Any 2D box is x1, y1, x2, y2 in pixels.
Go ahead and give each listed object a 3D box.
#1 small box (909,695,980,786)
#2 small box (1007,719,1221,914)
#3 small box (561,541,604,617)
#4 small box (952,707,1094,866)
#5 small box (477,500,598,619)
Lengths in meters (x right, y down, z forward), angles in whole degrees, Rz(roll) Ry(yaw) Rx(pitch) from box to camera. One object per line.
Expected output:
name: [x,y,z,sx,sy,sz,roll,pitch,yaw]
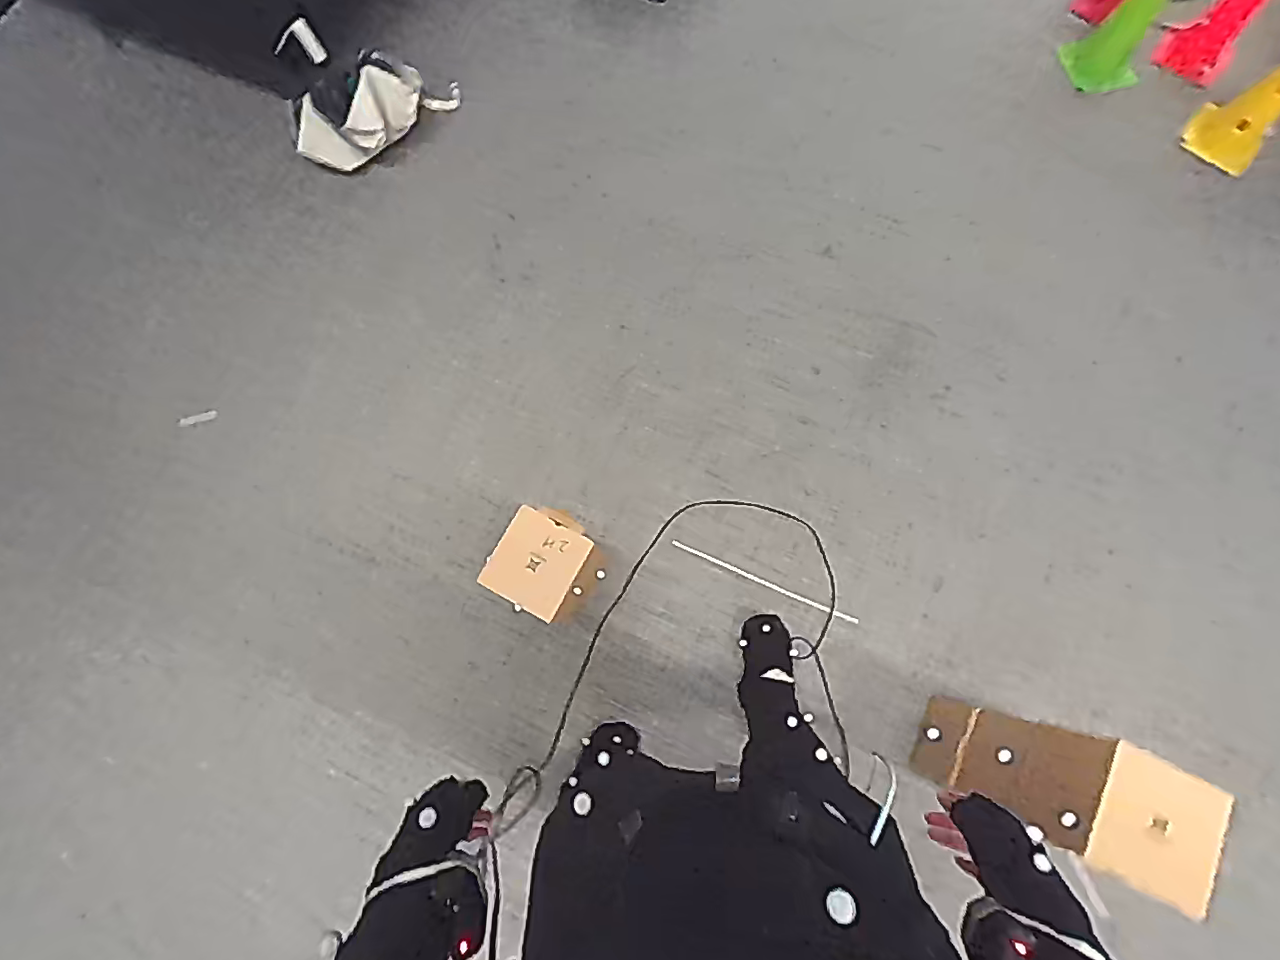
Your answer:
small box: [0.711,0.579,1.154,0.179,0.176,0.168,26,78,7]
small box: [0.717,0.498,0.837,0.168,0.176,0.179,26,79,7]
small box: [-0.194,0.199,1.254,0.168,0.176,0.179,30,79,8]
small box: [0.715,0.544,0.994,0.168,0.176,0.179,27,79,7]
small box: [-0.197,0.170,1.109,0.168,0.176,0.179,28,78,8]
